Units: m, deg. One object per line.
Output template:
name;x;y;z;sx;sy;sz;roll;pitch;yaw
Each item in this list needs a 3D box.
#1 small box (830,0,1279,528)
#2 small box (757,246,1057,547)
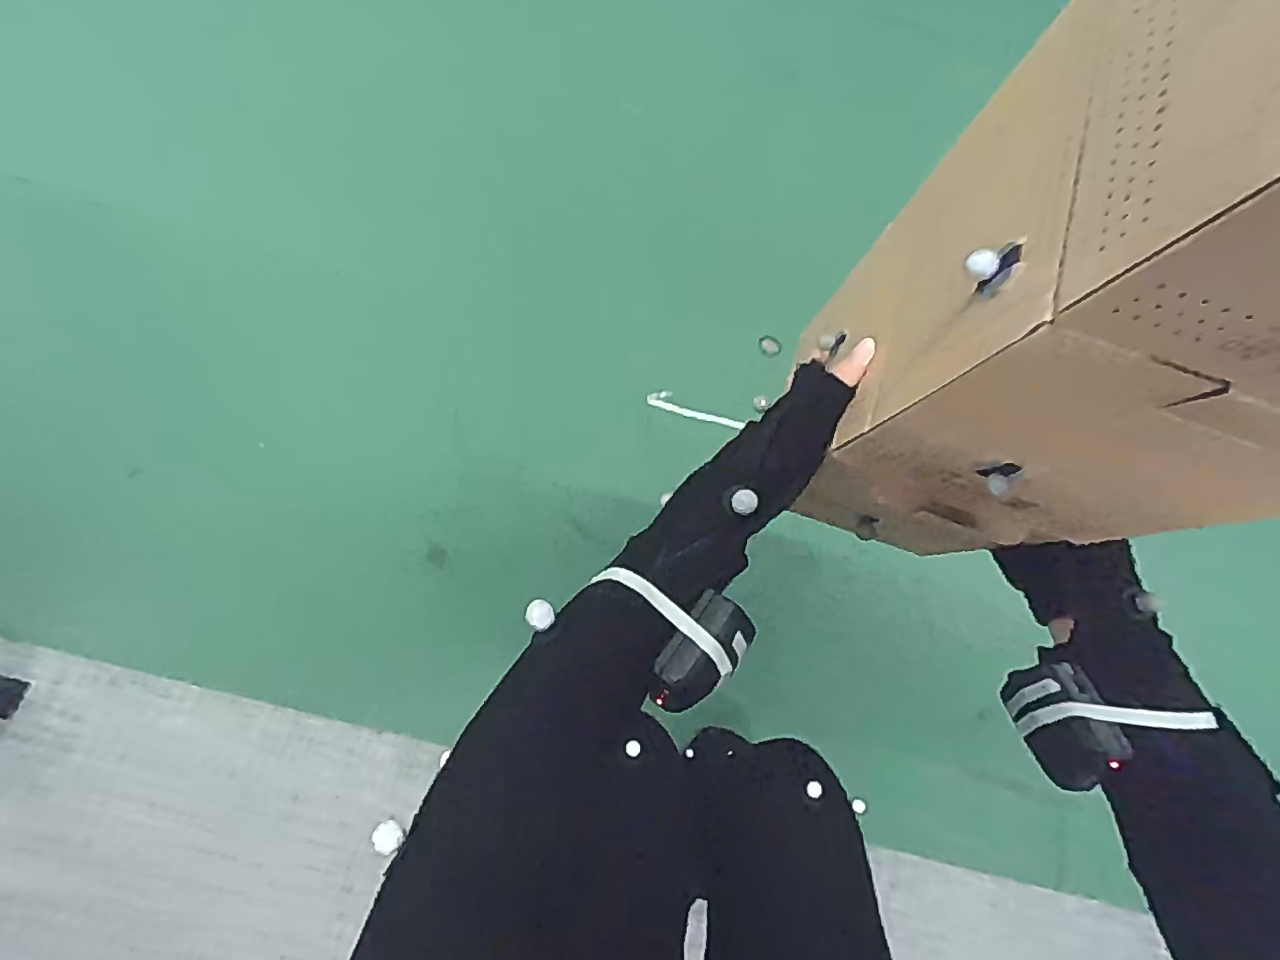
small box;0.223;-0.086;0.285;0.168;0.176;0.179;18;78;-1
small box;0.211;-0.055;0.444;0.168;0.176;0.179;18;78;-1
